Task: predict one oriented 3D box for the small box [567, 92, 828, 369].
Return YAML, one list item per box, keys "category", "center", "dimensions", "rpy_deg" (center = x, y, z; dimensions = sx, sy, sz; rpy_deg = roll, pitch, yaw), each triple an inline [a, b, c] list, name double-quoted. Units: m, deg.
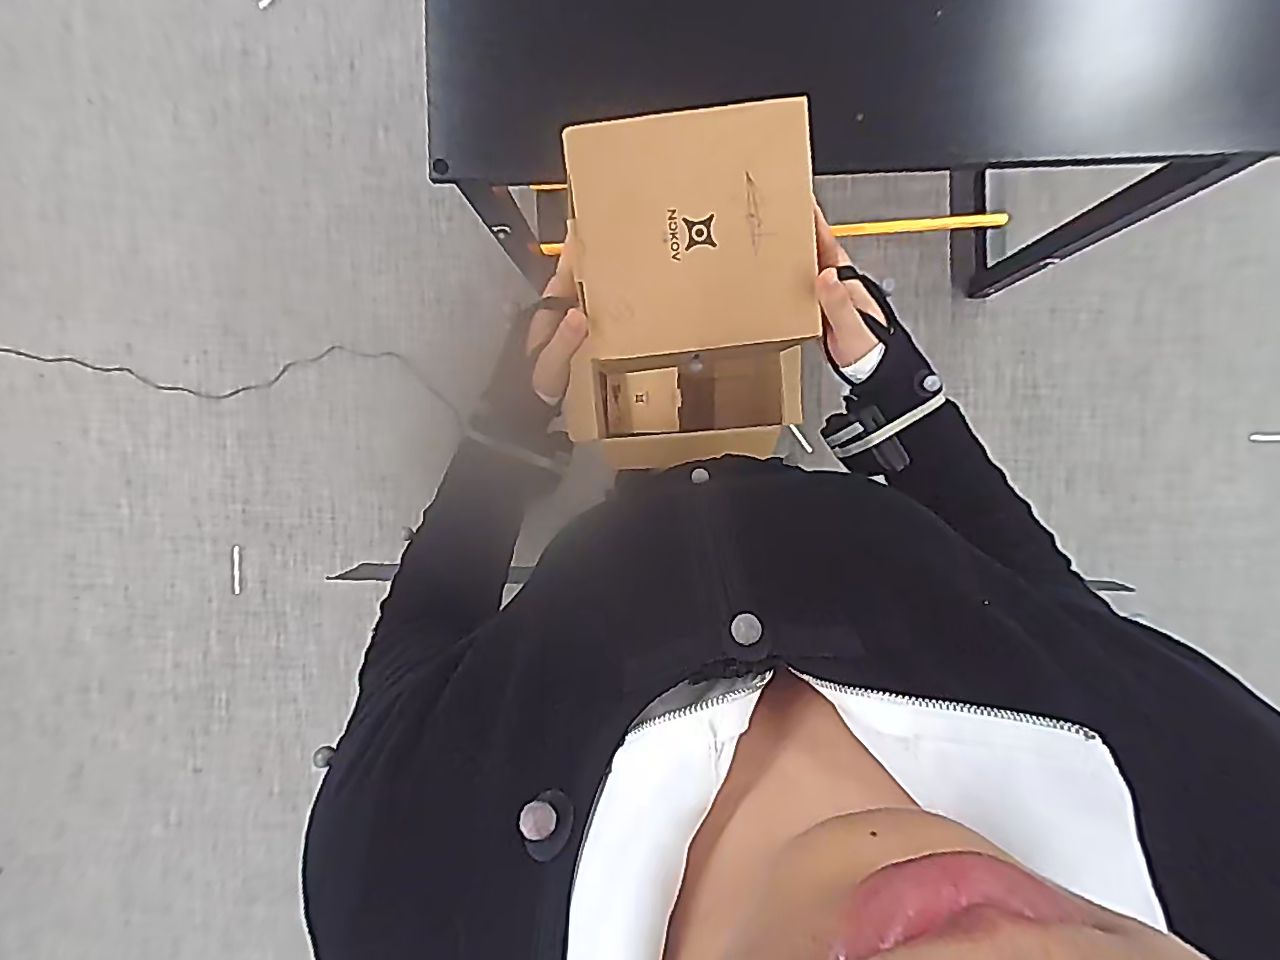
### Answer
- category: "small box"
  center: [0.043, -0.189, 0.463]
  dimensions: [0.179, 0.176, 0.168]
  rpy_deg: [-6, 99, 0]
